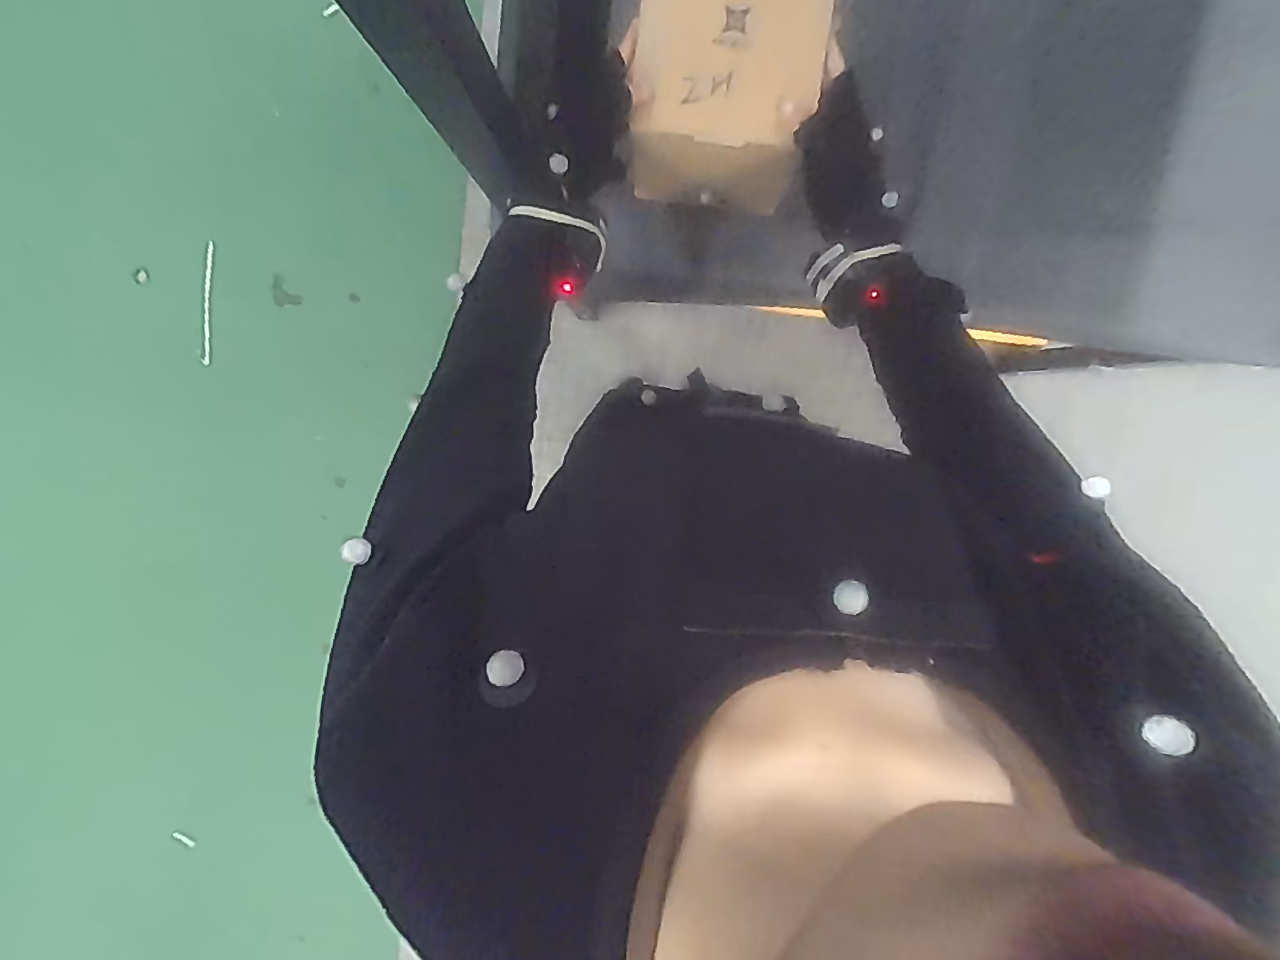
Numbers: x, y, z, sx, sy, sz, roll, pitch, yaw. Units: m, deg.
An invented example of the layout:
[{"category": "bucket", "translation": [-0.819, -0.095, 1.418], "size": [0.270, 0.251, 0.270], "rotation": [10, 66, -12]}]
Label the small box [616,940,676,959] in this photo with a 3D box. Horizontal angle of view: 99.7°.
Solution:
[{"category": "small box", "translation": [0.006, 1.538, 1.616], "size": [0.179, 0.176, 0.168], "rotation": [22, 97, -1]}]

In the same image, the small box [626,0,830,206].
[{"category": "small box", "translation": [0.080, -0.405, 0.545], "size": [0.168, 0.176, 0.179], "rotation": [7, 100, 1]}]
